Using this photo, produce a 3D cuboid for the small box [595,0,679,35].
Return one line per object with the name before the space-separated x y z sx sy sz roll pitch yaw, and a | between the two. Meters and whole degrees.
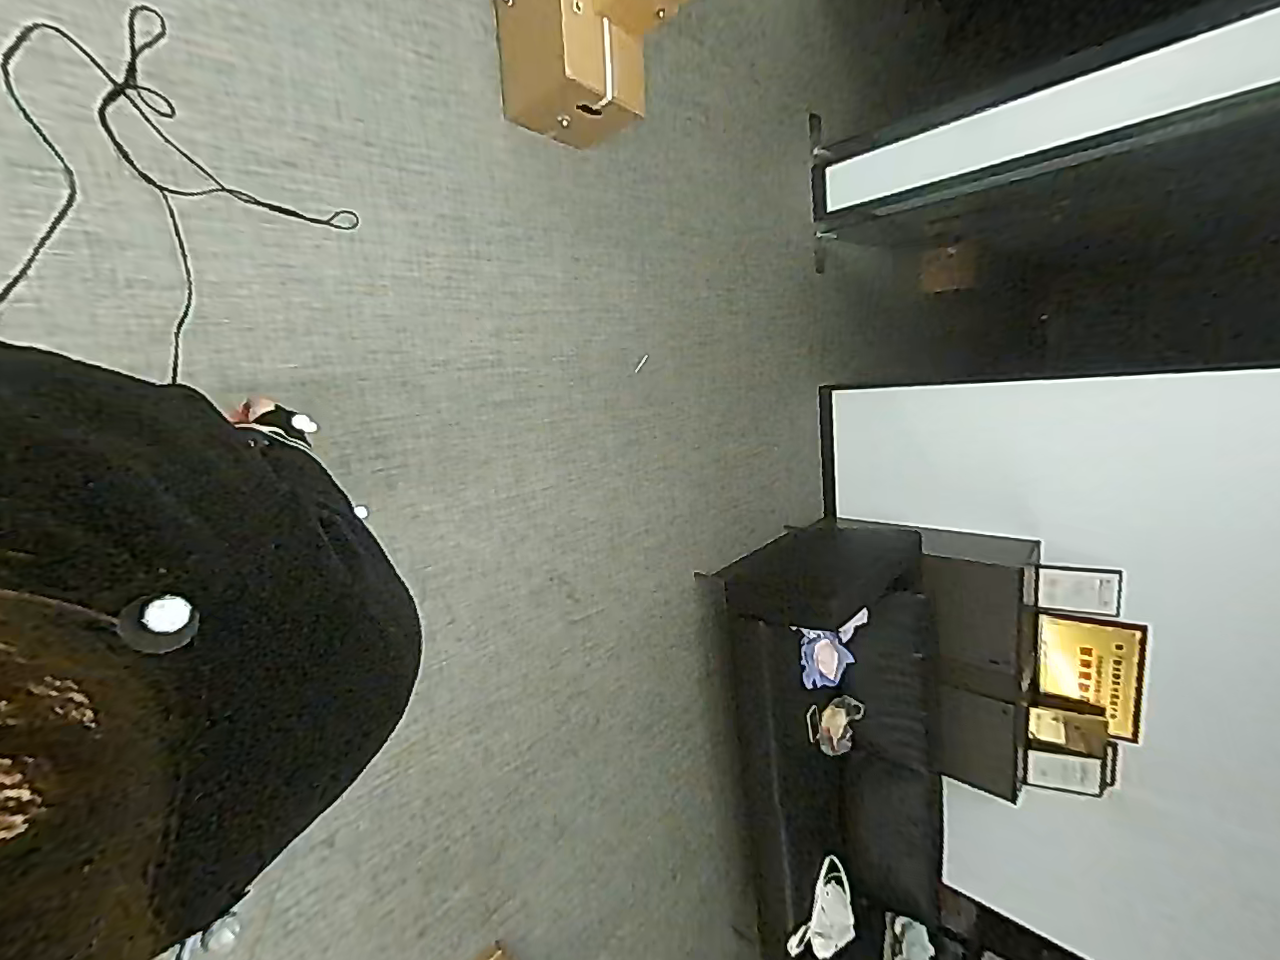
small box | -0.013 -1.375 1.481 0.179 0.176 0.168 -11 102 -46
